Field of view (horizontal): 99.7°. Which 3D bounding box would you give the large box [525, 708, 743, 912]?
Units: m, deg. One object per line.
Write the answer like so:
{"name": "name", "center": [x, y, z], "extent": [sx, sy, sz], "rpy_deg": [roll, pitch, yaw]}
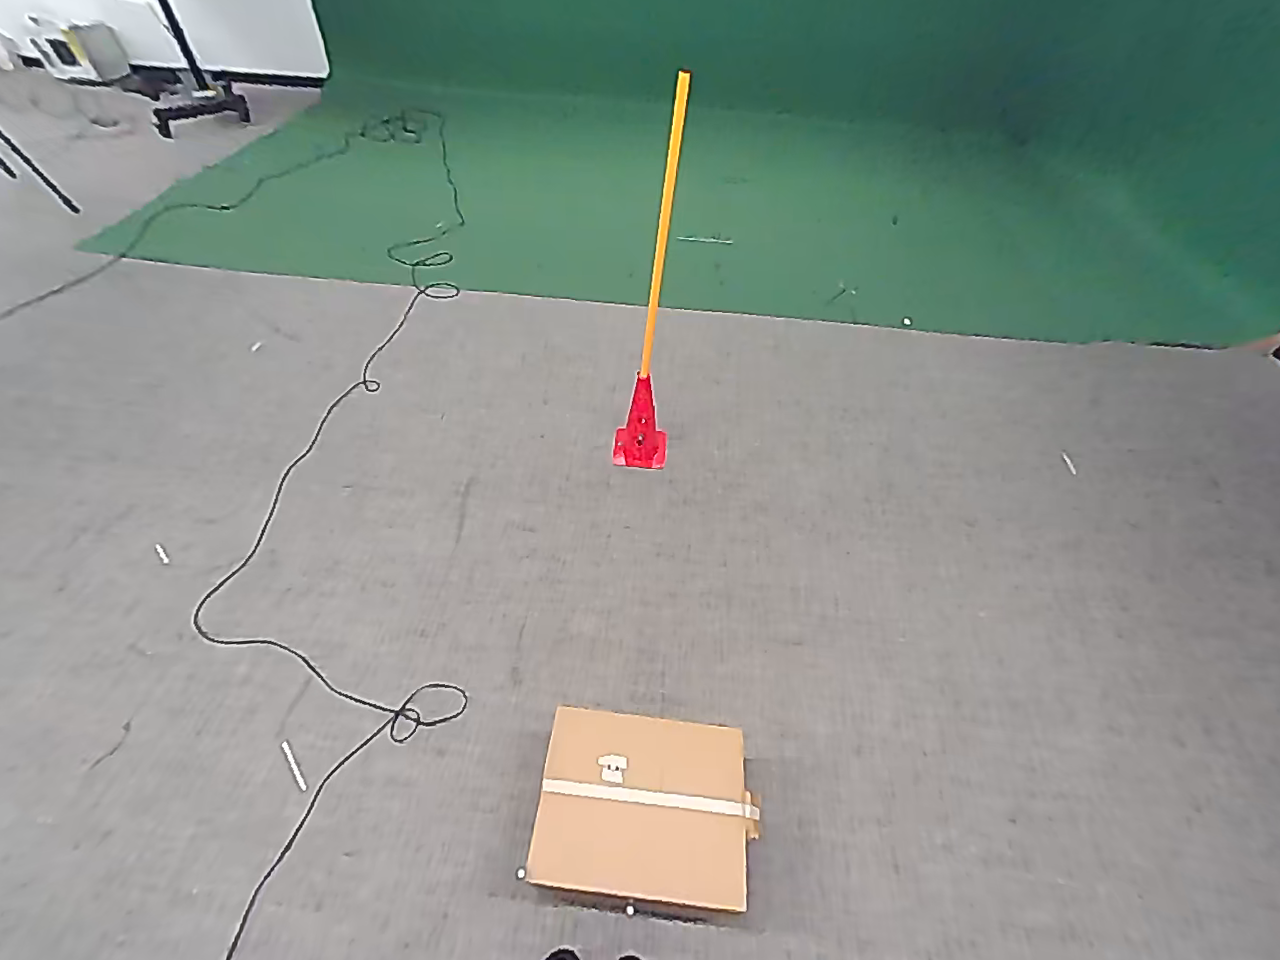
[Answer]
{"name": "large box", "center": [-0.001, 0.727, 1.184], "extent": [0.408, 0.320, 0.320], "rpy_deg": [6, 49, 3]}
